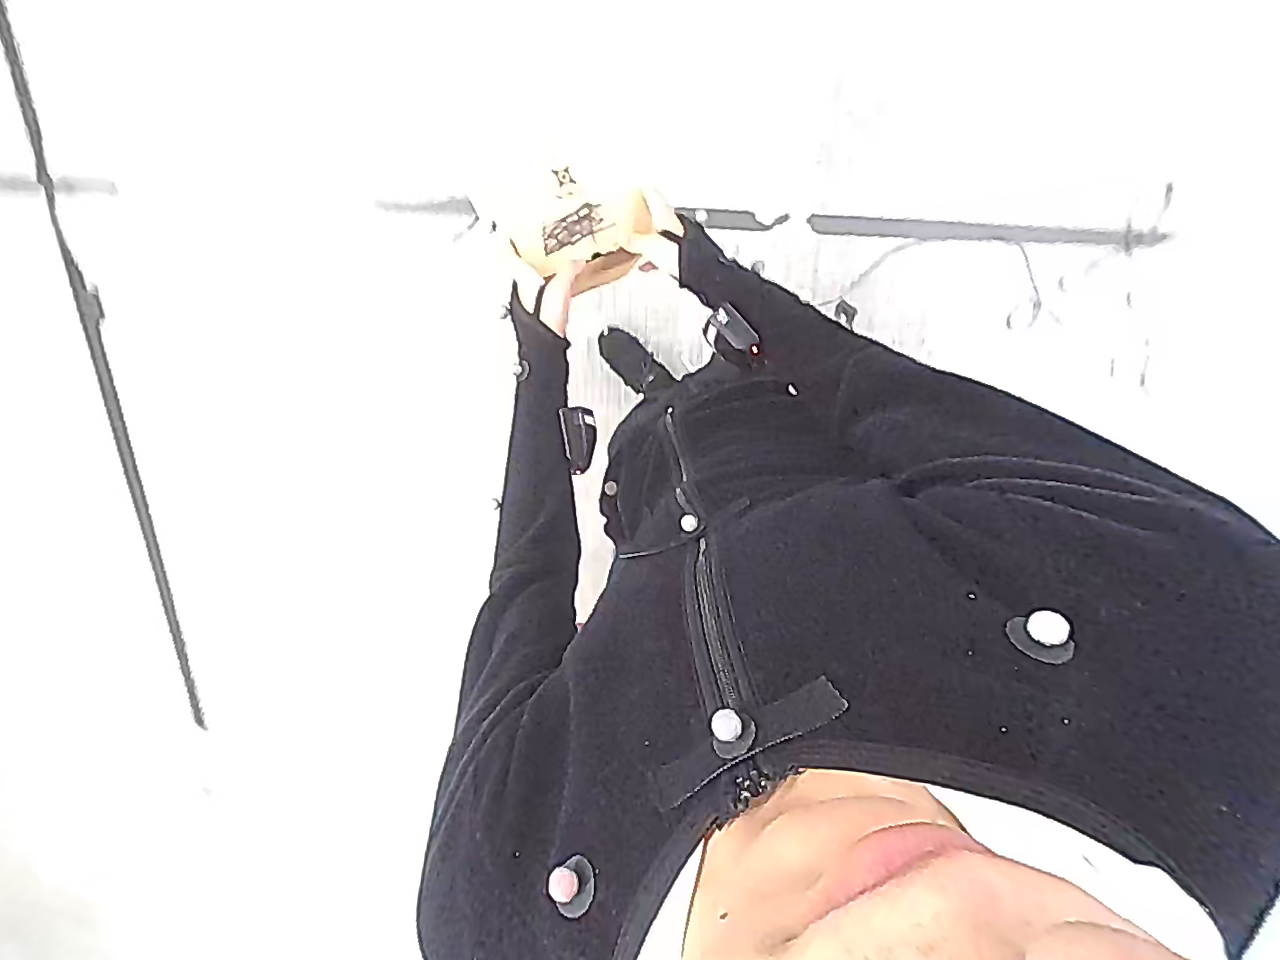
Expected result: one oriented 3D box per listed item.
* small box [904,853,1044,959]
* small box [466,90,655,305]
[{"bbox_3d":[0.664,0.907,1.101,0.168,0.176,0.179,3,107,-1],"label":"small box"},{"bbox_3d":[-0.104,-0.338,0.686,0.168,0.176,0.179,-25,100,-13],"label":"small box"}]
